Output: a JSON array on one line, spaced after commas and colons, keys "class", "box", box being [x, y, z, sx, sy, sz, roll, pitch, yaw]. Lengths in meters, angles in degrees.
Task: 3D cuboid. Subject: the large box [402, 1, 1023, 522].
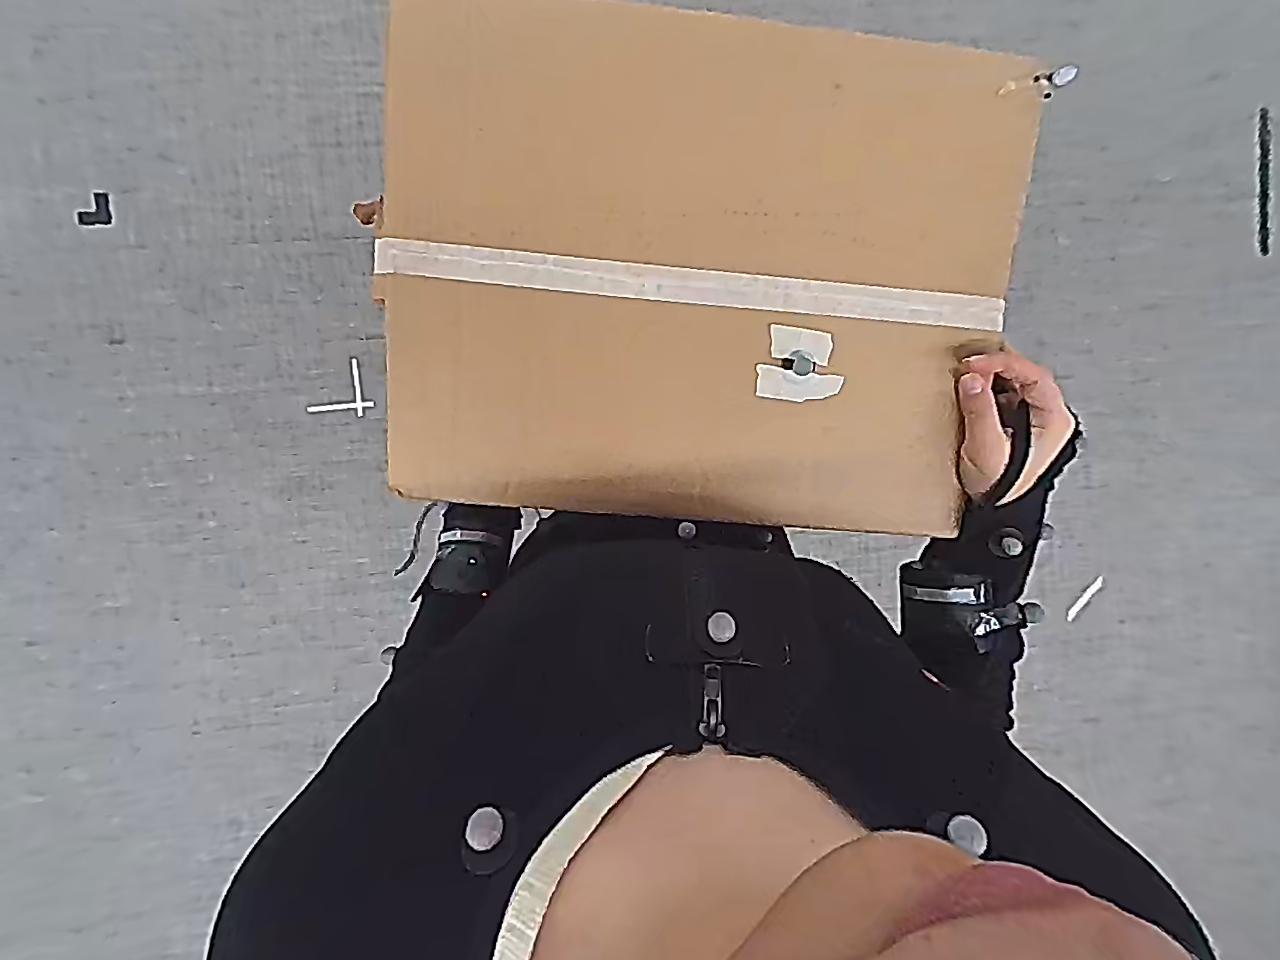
[{"class": "large box", "box": [0.034, -0.153, 0.509, 0.408, 0.320, 0.320, 4, 101, -5]}]
